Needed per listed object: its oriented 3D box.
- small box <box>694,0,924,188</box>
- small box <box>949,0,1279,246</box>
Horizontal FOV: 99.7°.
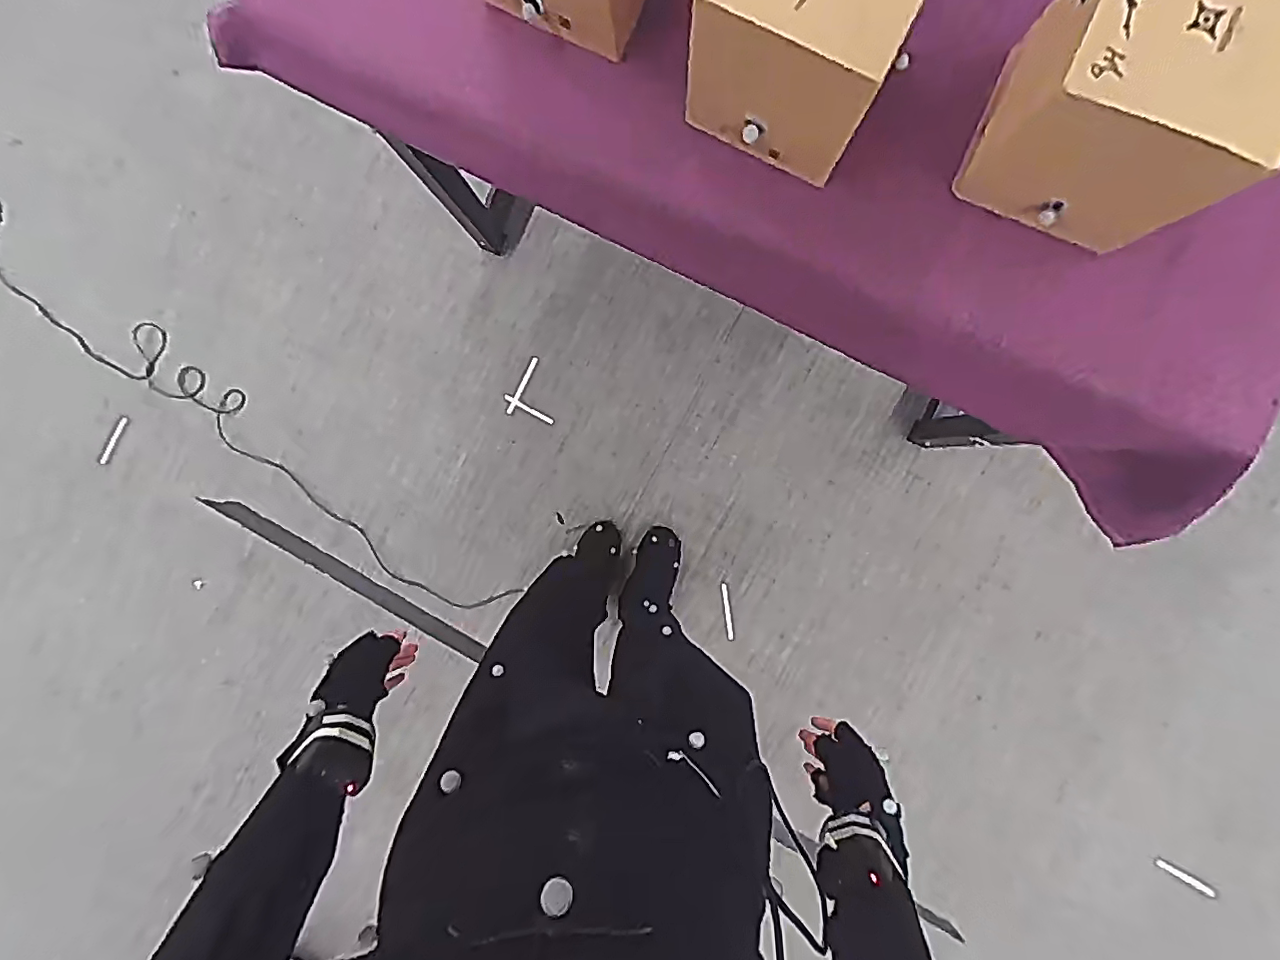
[{"bbox_3d":[0.157,-0.423,0.506,0.168,0.176,0.179,27,93,2],"label":"small box"},{"bbox_3d":[0.434,-0.343,0.496,0.179,0.176,0.168,23,92,2],"label":"small box"}]
